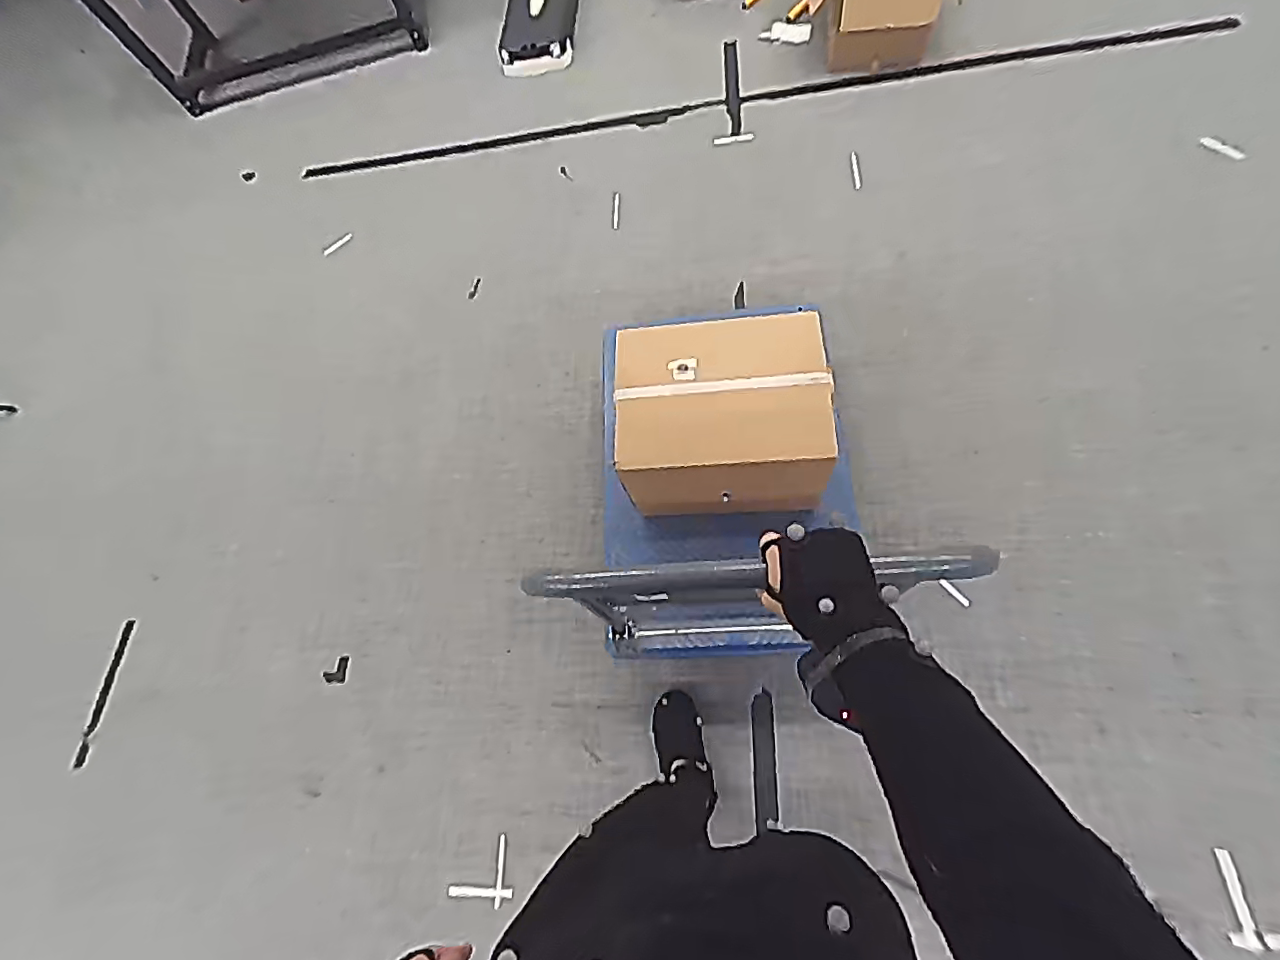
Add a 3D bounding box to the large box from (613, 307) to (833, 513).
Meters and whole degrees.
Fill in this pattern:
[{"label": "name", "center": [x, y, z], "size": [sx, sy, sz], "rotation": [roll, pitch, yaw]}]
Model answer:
[{"label": "large box", "center": [0.170, -0.127, 1.167], "size": [0.408, 0.320, 0.320], "rotation": [-4, 68, 9]}]
